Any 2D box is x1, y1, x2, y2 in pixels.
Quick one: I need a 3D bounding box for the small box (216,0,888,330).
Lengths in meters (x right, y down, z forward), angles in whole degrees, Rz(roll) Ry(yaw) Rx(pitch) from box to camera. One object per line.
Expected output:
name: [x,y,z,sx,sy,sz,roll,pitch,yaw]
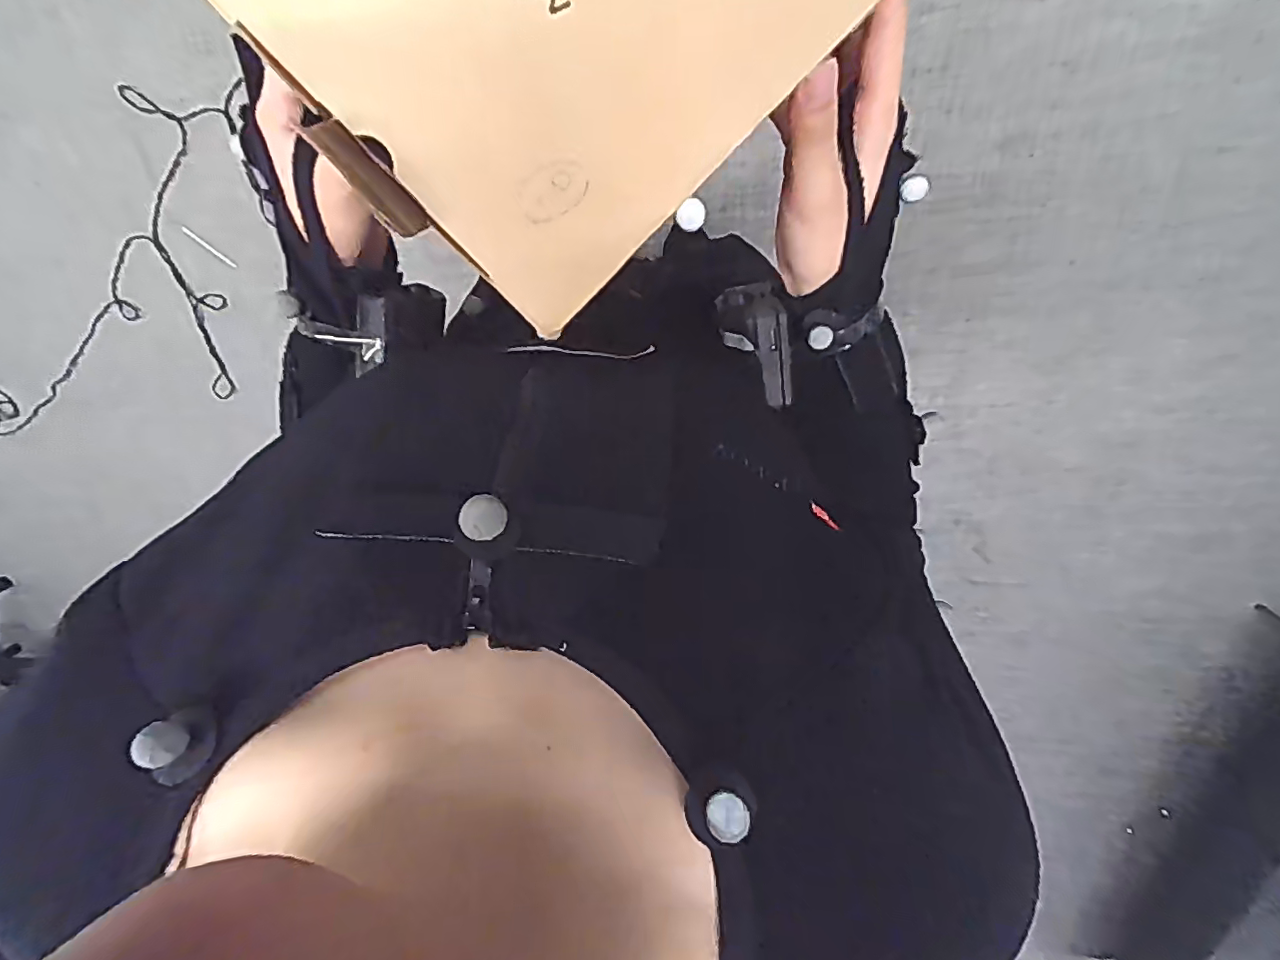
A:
small box: [-0.025,-0.198,0.236,0.179,0.176,0.168,-39,110,20]
